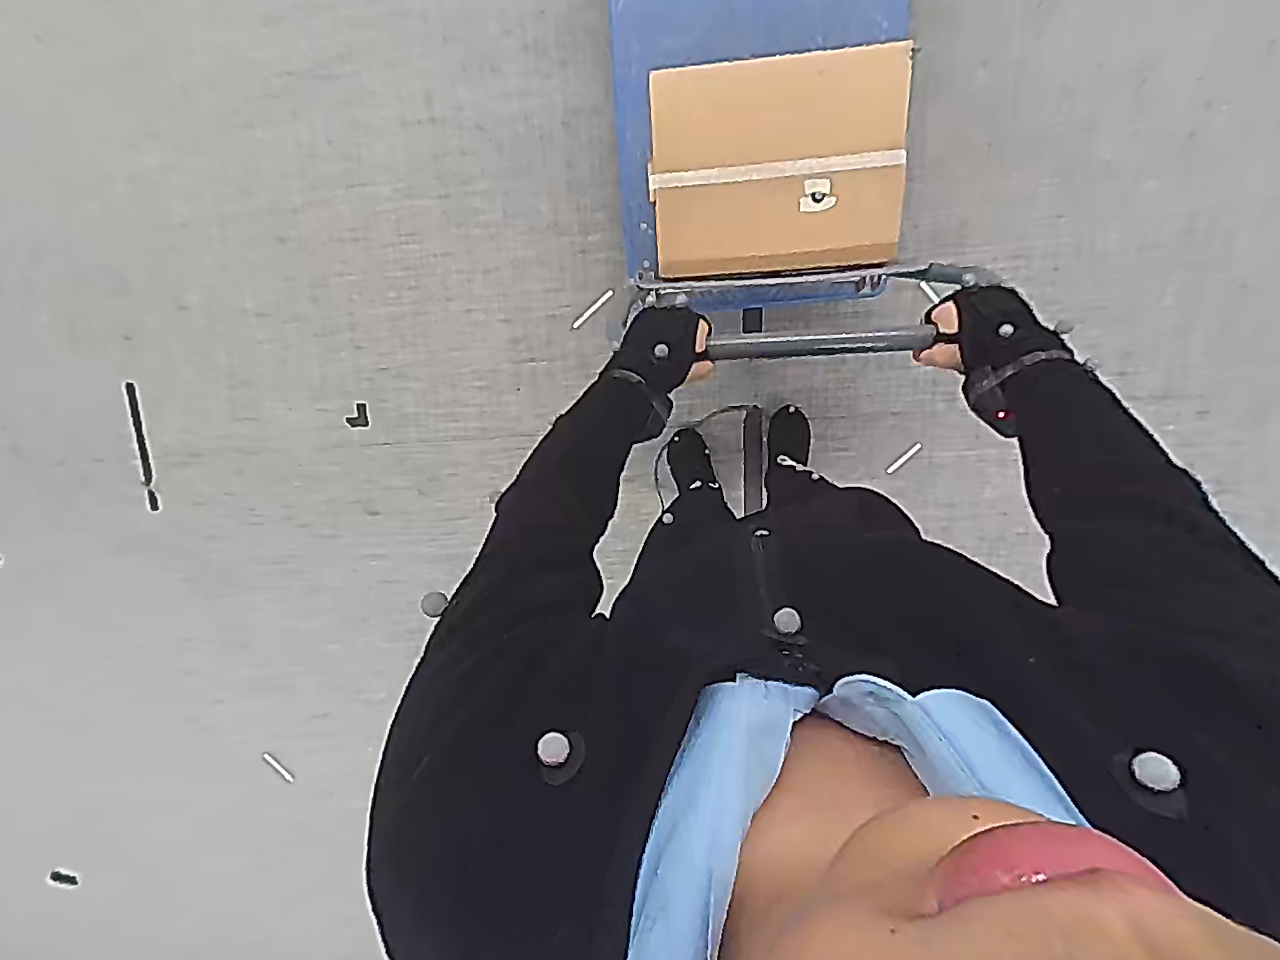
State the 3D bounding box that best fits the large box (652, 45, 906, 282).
[{"bbox_3d":[0.239,-0.567,1.044,0.408,0.320,0.320,-2,109,6],"label":"large box"}]
